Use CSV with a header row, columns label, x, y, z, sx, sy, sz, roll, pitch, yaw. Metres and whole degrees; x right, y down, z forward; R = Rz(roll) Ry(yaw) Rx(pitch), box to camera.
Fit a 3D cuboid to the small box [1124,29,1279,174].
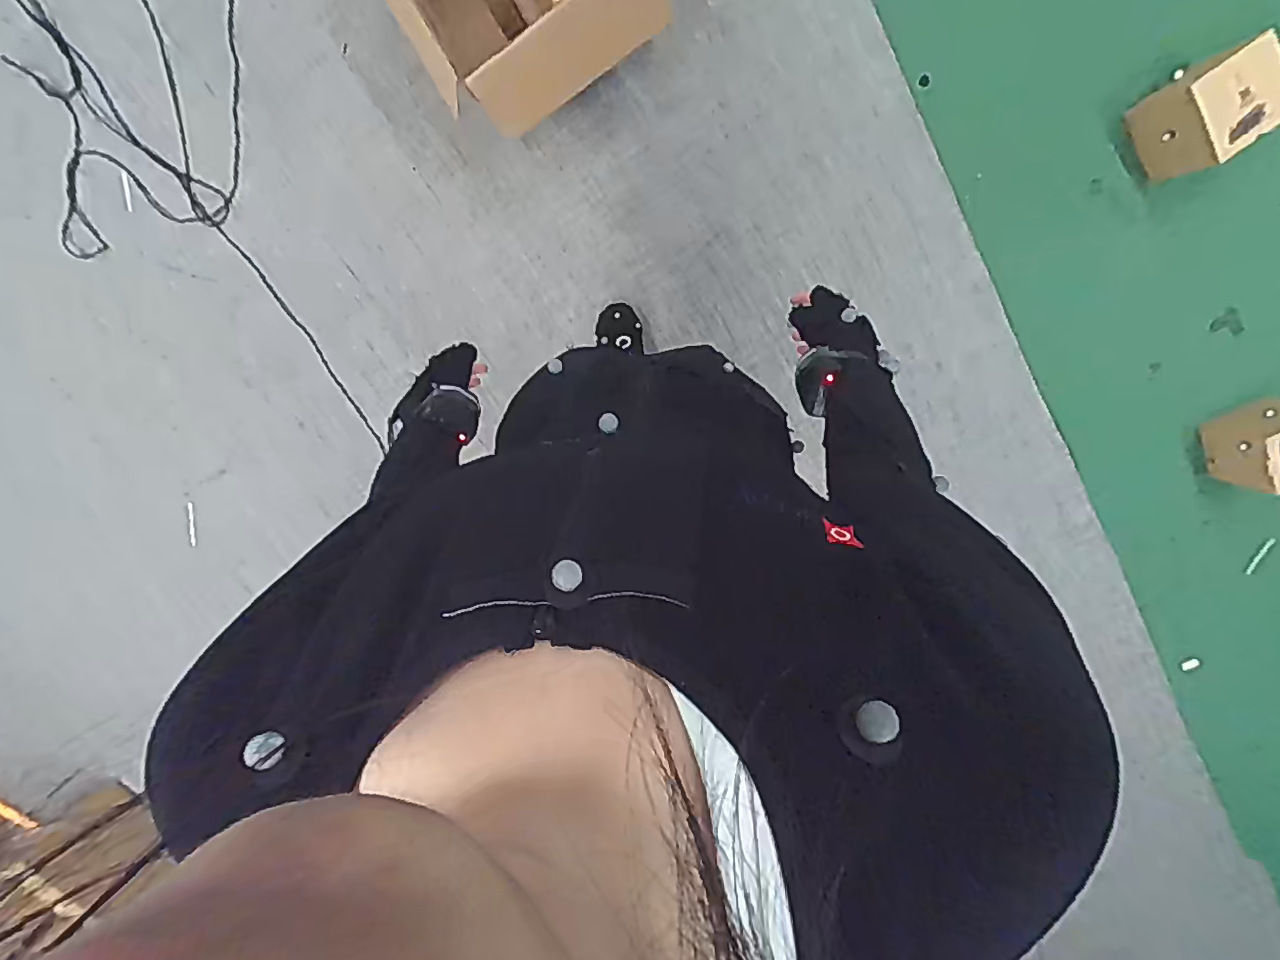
label,x,y,z,sx,sy,sz,roll,pitch,yaw
small box,1.204,-0.787,1.154,0.168,0.176,0.179,-35,103,11
